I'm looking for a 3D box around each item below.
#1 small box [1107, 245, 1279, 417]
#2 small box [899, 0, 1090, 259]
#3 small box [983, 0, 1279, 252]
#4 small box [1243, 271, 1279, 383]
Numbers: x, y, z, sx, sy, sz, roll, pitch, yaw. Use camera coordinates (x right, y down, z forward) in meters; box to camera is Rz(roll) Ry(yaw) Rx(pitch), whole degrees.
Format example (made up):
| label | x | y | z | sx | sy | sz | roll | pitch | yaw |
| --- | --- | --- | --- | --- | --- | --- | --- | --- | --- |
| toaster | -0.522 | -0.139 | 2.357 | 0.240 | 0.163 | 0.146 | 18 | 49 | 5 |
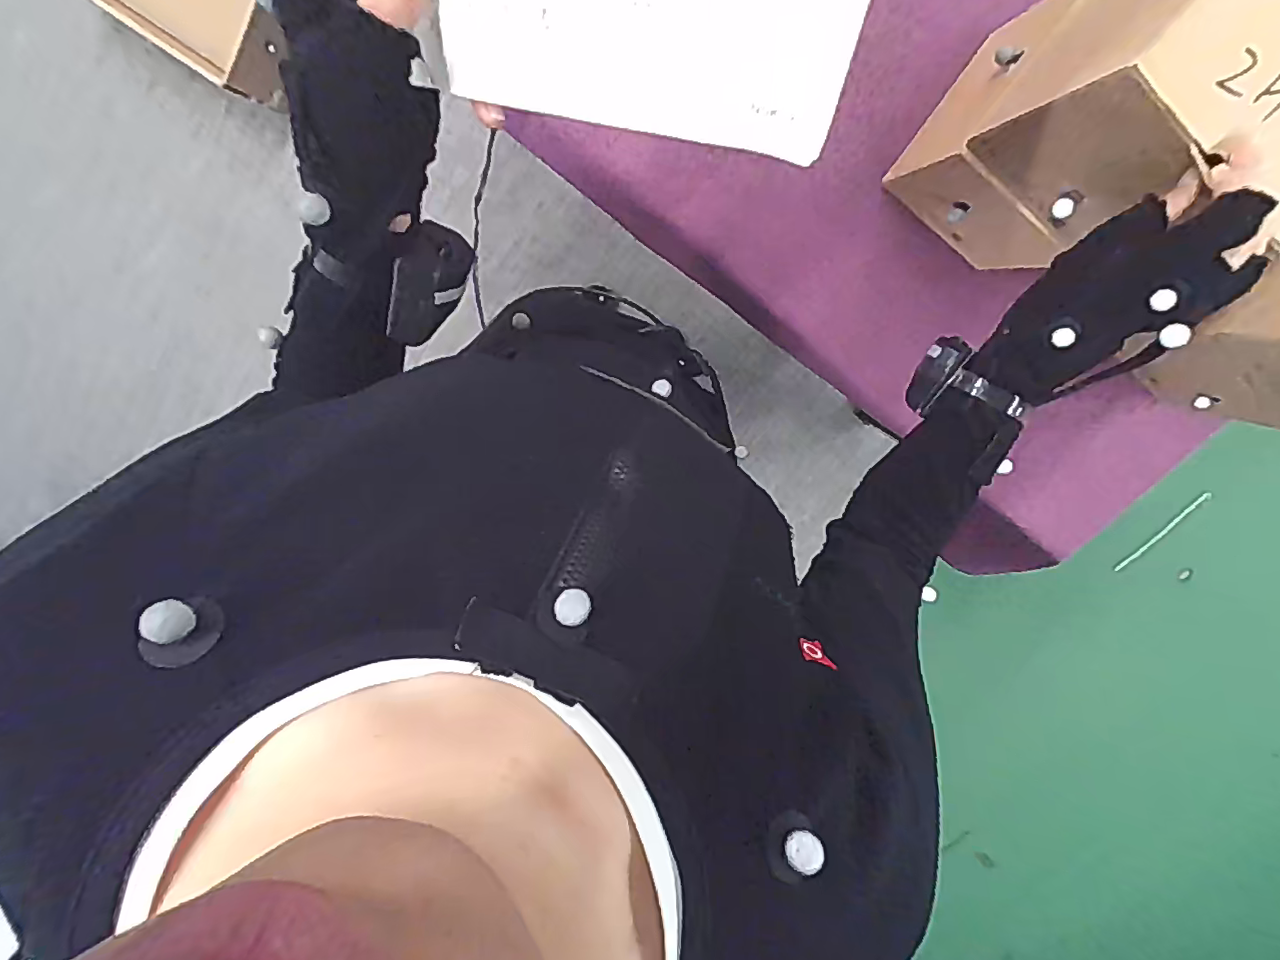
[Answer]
| label | x | y | z | sx | sy | sz | roll | pitch | yaw |
| --- | --- | --- | --- | --- | --- | --- | --- | --- | --- |
| small box | 0.670 | -0.191 | 0.587 | 0.168 | 0.176 | 0.179 | 36 | 106 | -13 |
| small box | 0.391 | -0.339 | 0.533 | 0.168 | 0.176 | 0.179 | 33 | 106 | -11 |
| small box | 0.397 | -0.286 | 0.377 | 0.168 | 0.176 | 0.179 | 37 | 106 | -13 |
| small box | 0.665 | -0.136 | 0.433 | 0.168 | 0.176 | 0.179 | 35 | 107 | -13 |
